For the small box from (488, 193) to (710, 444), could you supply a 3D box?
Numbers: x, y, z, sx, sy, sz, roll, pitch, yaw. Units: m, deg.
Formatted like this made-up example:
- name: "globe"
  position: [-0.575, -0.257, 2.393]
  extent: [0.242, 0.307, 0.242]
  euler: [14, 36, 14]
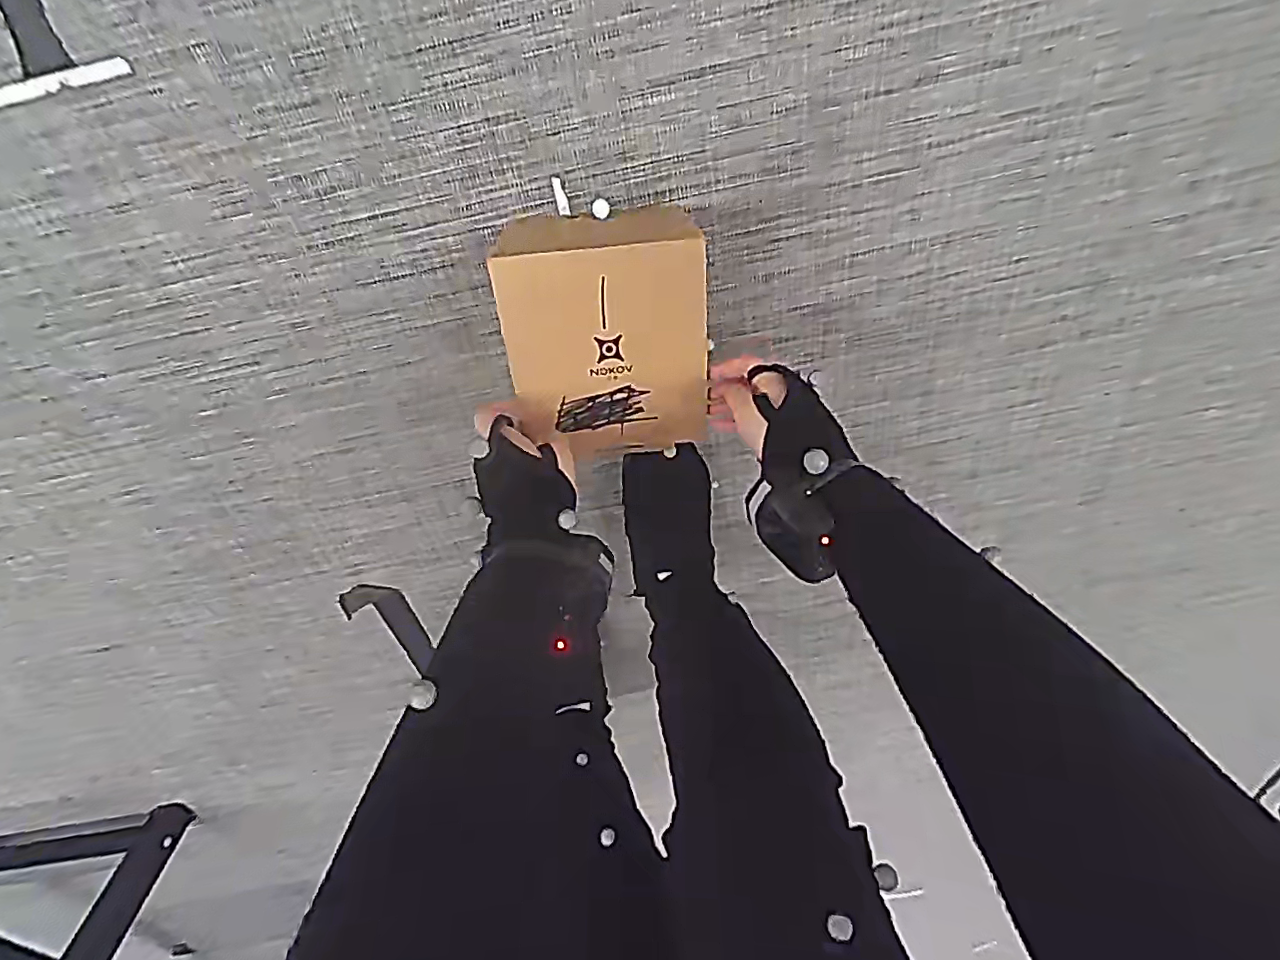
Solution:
- name: "small box"
  position: [-0.031, -0.155, 0.507]
  extent: [0.168, 0.176, 0.179]
  euler: [-6, 124, -2]
